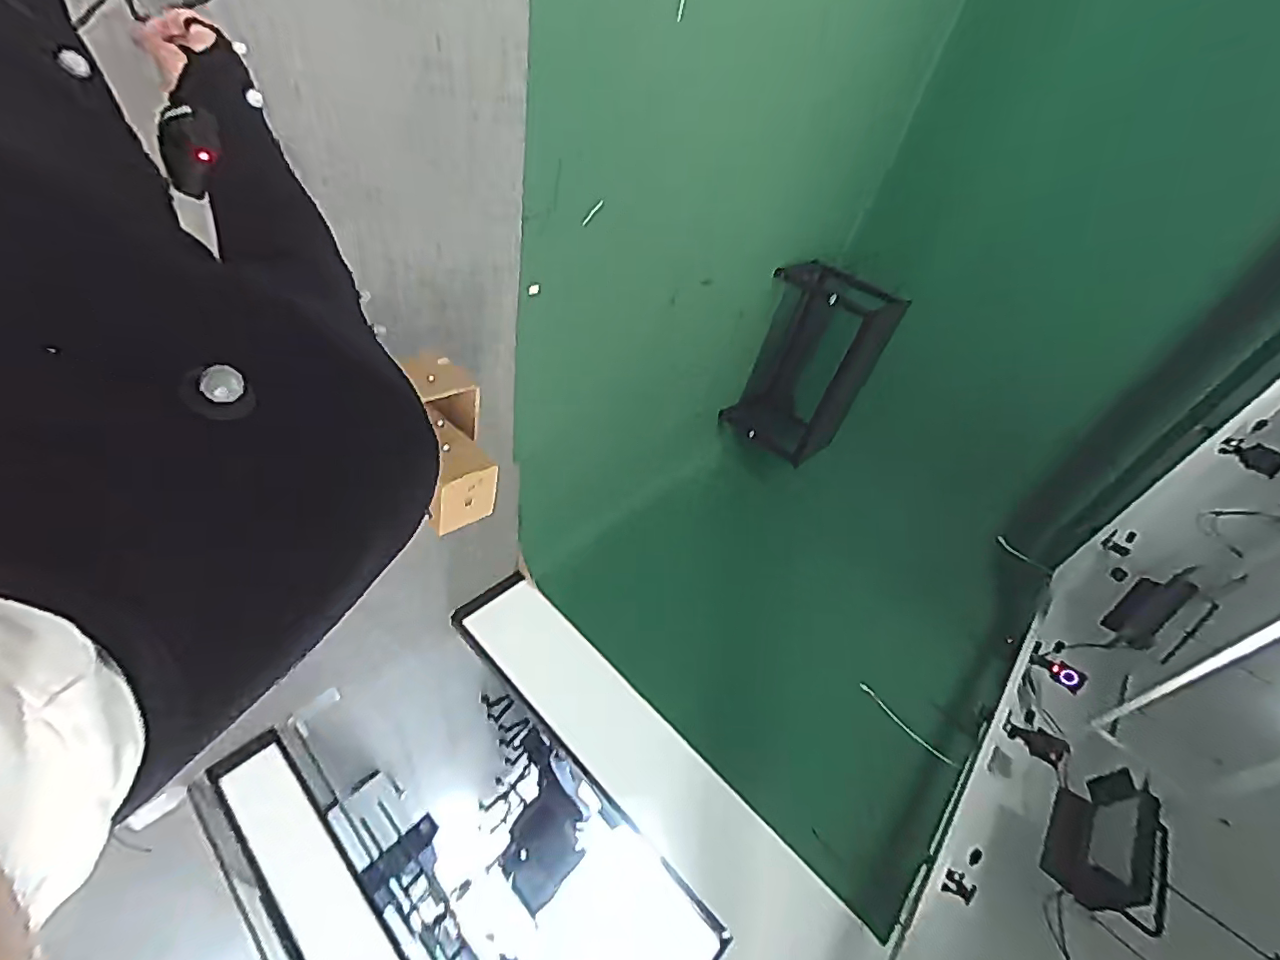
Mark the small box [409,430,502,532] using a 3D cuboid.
[{"bbox_3d":[-0.485,-0.003,1.409,0.168,0.176,0.179,-26,146,-43],"label":"small box"}]
